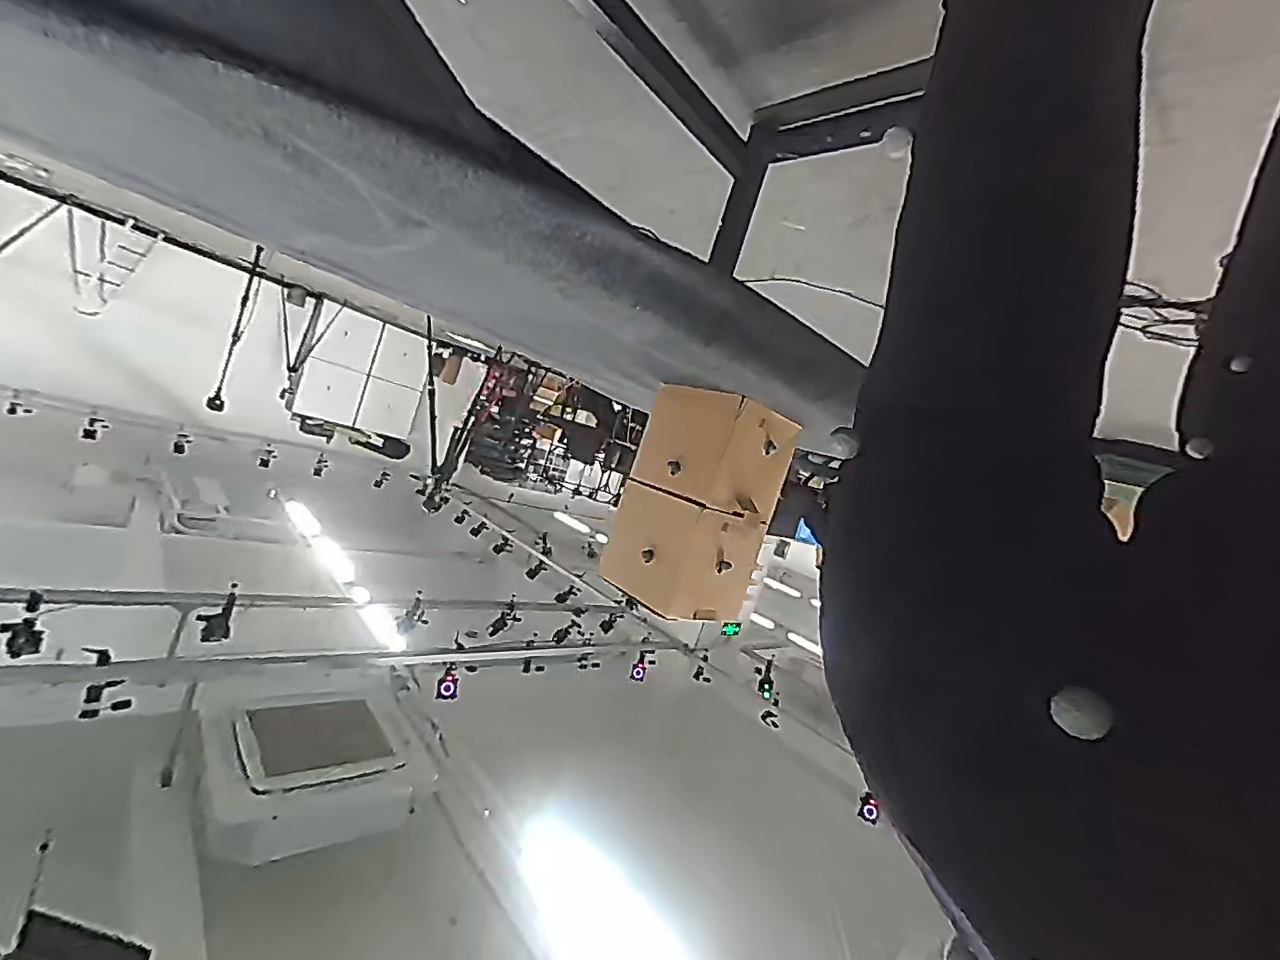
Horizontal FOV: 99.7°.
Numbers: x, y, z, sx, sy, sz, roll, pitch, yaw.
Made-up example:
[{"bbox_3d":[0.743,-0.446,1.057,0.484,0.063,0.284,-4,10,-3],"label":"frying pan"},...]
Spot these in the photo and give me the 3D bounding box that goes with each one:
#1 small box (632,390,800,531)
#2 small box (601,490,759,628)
[{"bbox_3d":[0.121,-0.035,0.856,0.168,0.176,0.179,16,-178,-42],"label":"small box"},{"bbox_3d":[0.069,0.120,0.856,0.168,0.176,0.179,16,-179,-41],"label":"small box"}]
